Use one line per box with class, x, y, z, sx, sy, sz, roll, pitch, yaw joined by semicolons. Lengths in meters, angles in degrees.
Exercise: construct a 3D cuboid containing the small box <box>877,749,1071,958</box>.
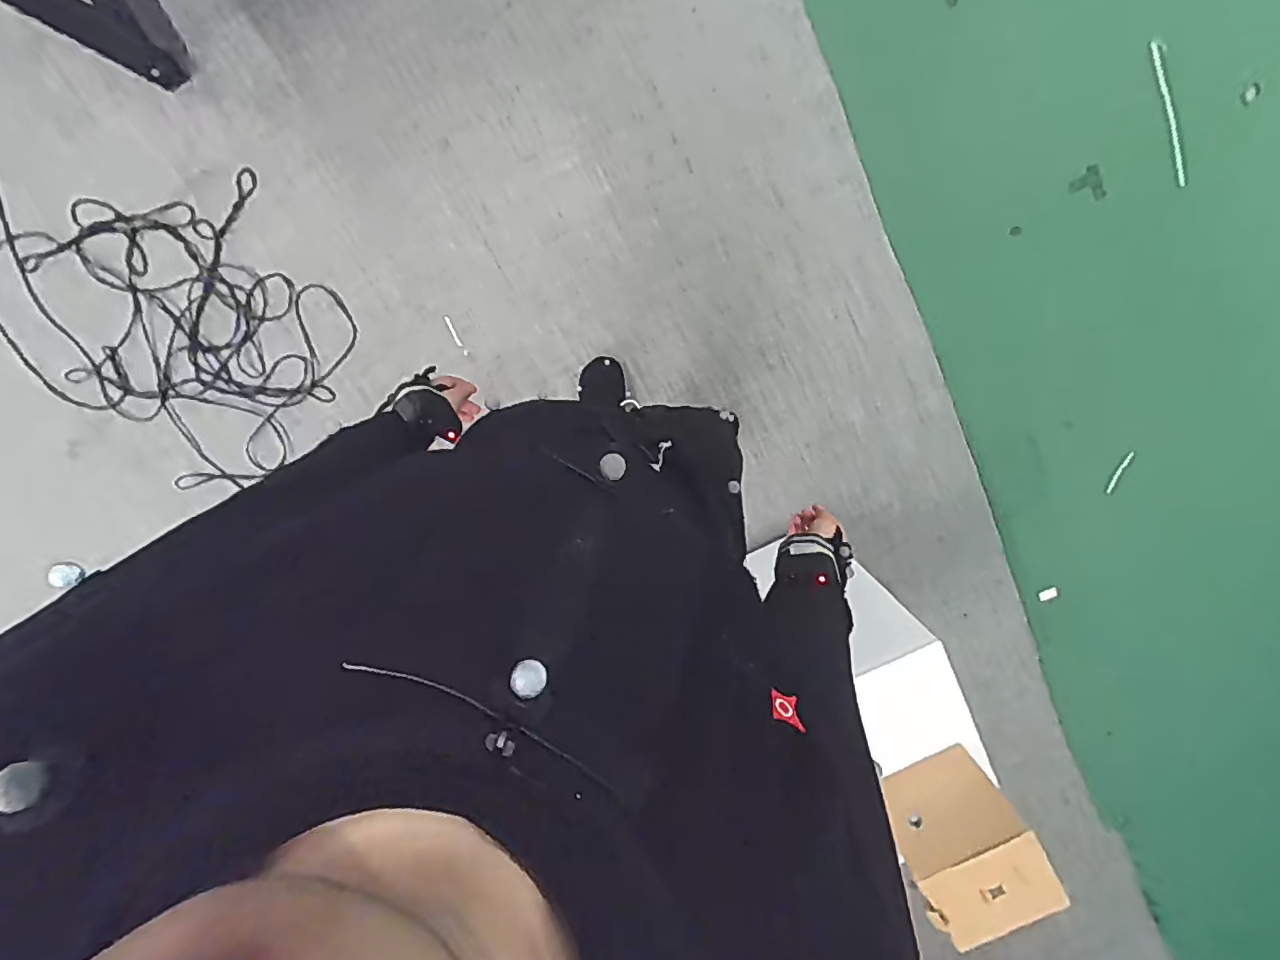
small box;0.495;0.564;0.834;0.179;0.176;0.168;-31;104;6
